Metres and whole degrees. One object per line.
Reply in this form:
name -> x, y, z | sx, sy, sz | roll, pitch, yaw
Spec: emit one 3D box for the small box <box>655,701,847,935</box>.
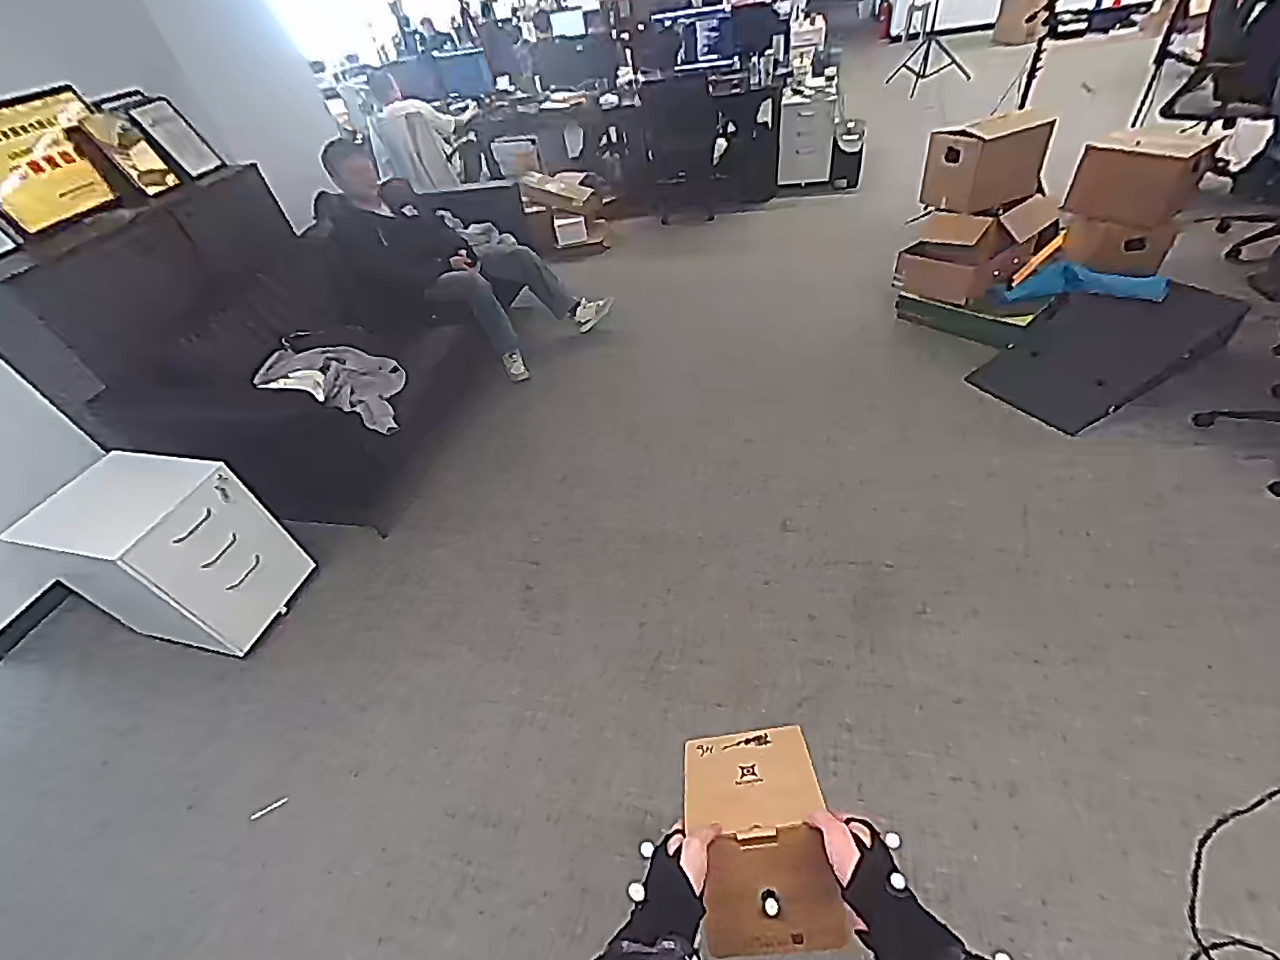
small box -> 0.147, 0.435, 0.718 | 0.179, 0.176, 0.168 | -17, 8, -22
